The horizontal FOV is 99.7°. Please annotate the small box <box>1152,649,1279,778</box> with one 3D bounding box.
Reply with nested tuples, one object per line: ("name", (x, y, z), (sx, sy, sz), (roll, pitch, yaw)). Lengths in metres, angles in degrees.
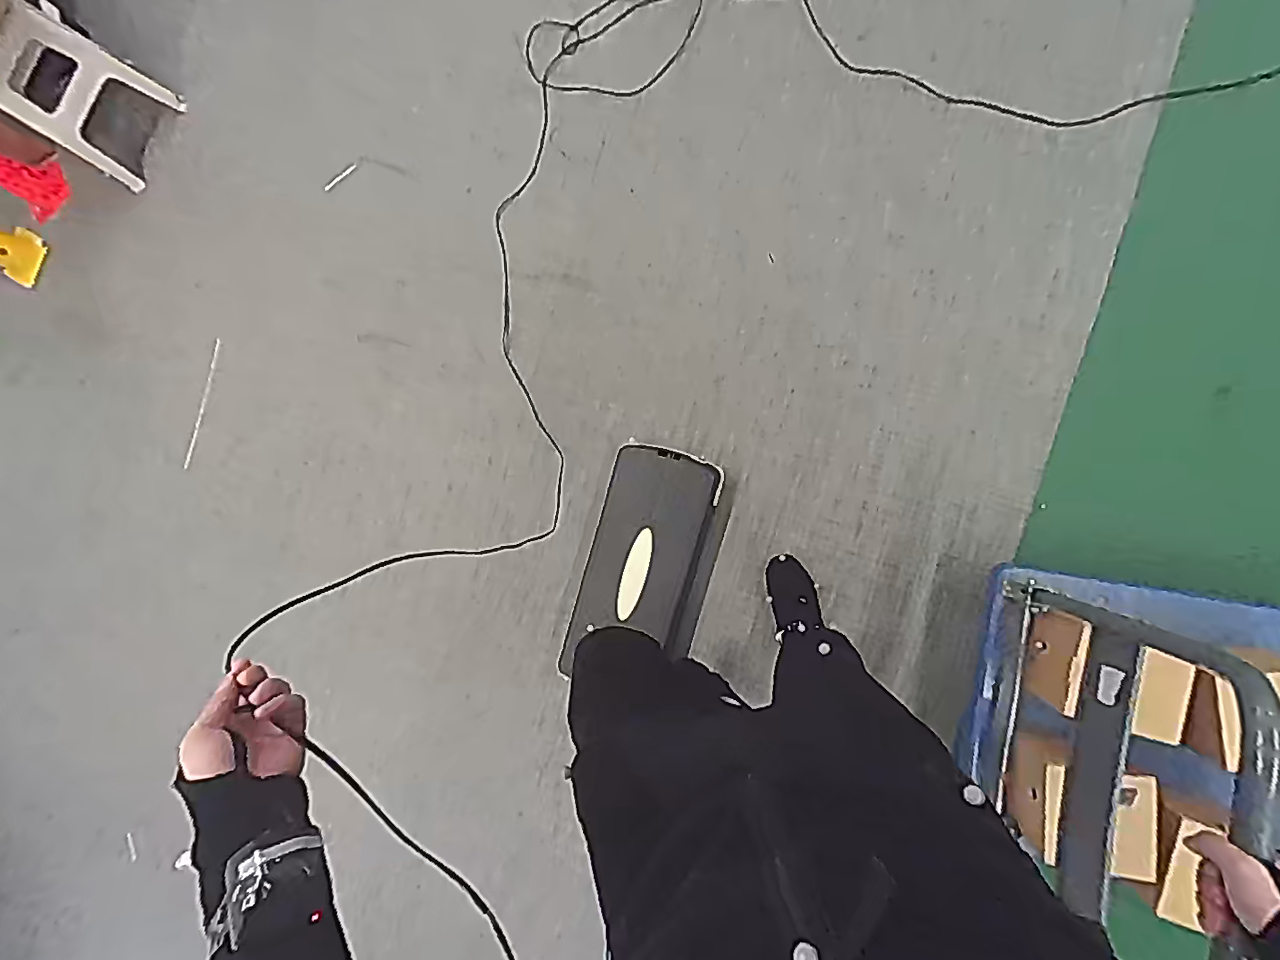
("small box", (1.055, 0.403, 0.953), (0.179, 0.176, 0.168), (-4, 87, 14))
